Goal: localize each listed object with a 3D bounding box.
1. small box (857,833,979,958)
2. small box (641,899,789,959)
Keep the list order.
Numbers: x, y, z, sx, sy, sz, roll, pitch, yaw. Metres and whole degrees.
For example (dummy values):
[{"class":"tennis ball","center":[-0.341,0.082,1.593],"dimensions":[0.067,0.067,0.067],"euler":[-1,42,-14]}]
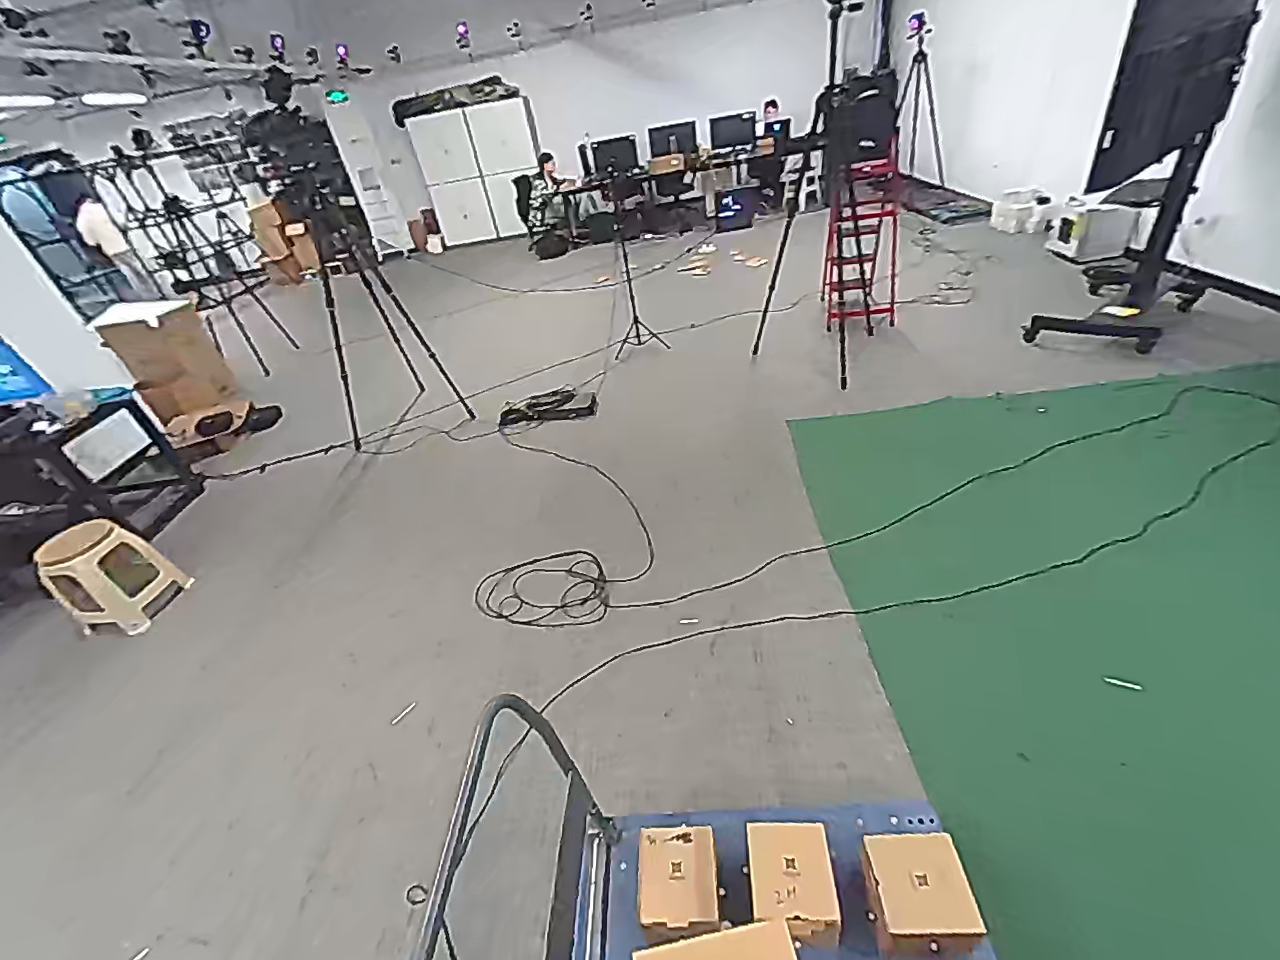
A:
[{"class":"small box","center":[0.553,0.850,1.106],"dimensions":[0.179,0.176,0.168],"euler":[-6,36,7]},{"class":"small box","center":[0.081,0.581,0.561],"dimensions":[0.179,0.176,0.168],"euler":[12,49,20]}]
